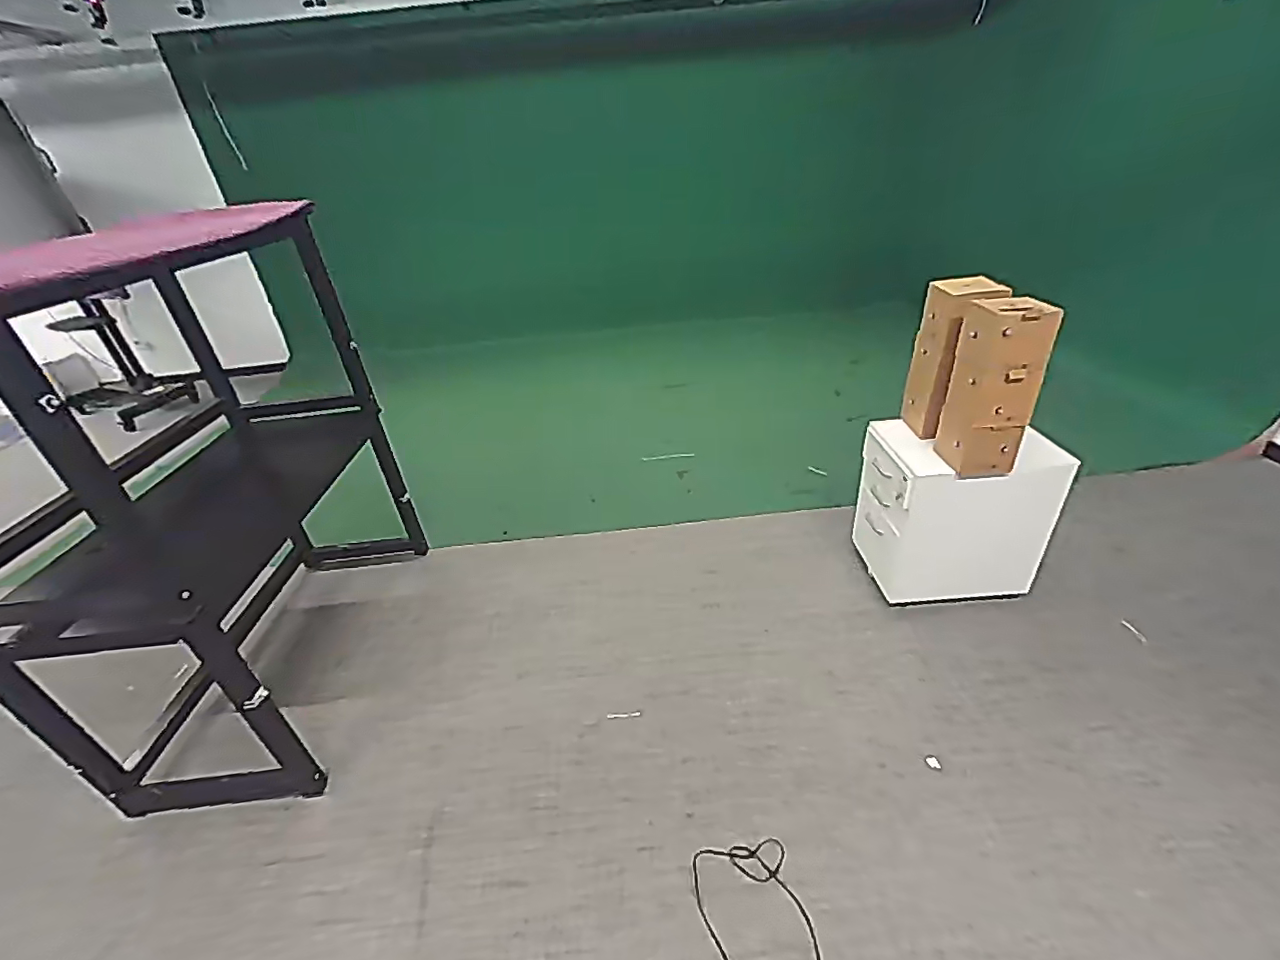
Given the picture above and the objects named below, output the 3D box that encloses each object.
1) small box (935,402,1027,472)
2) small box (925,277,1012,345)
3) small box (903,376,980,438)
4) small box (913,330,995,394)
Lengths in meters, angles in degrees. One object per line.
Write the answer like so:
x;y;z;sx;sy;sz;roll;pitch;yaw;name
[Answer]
1.063;-0.131;1.701;0.168;0.176;0.179;-4;30;1;small box
1.037;-0.537;1.727;0.179;0.176;0.168;-5;34;2;small box
1.055;-0.263;1.909;0.168;0.176;0.179;-5;32;2;small box
1.046;-0.401;1.821;0.168;0.176;0.179;-5;34;2;small box
